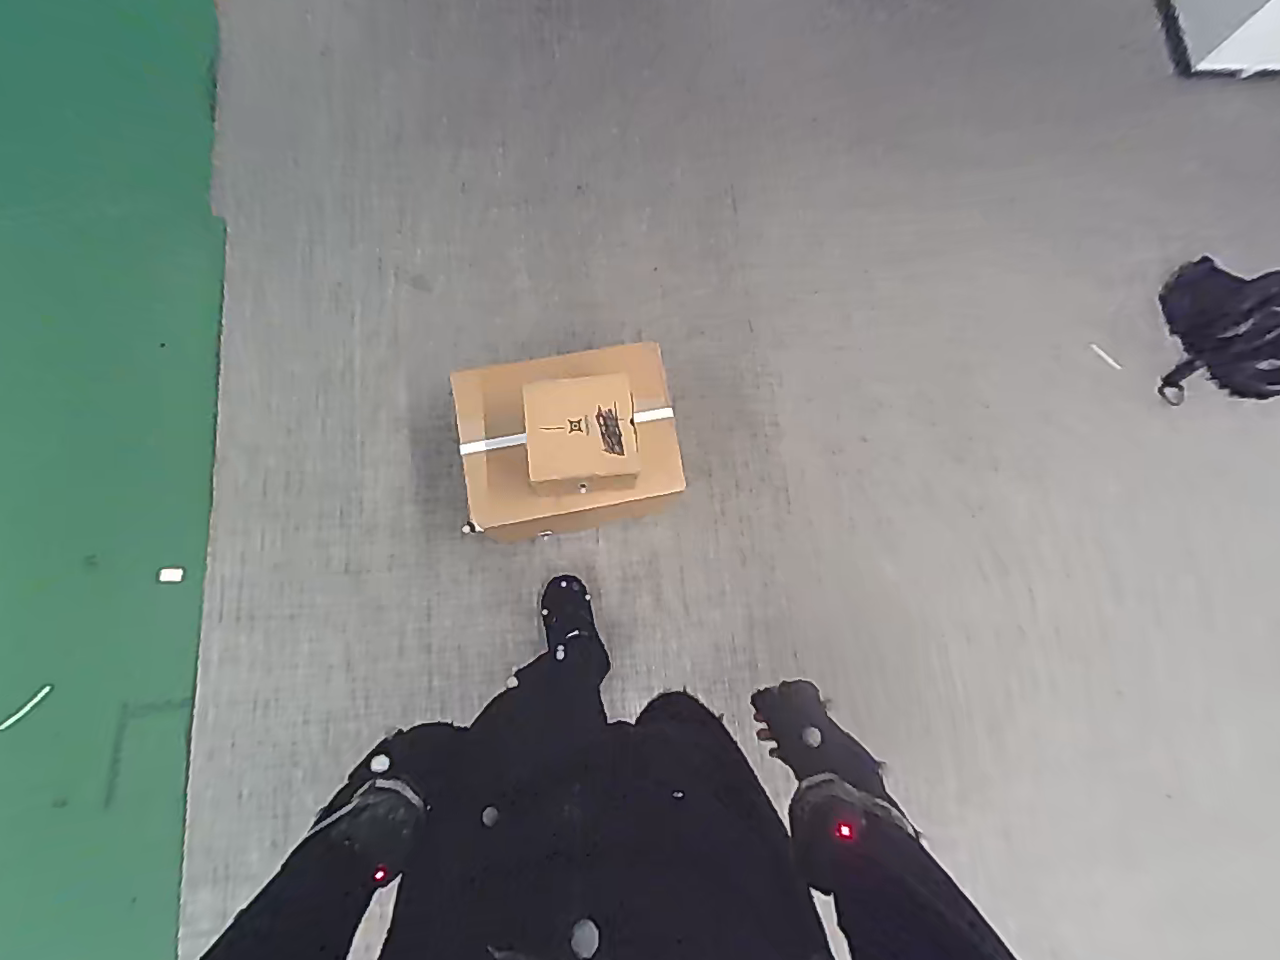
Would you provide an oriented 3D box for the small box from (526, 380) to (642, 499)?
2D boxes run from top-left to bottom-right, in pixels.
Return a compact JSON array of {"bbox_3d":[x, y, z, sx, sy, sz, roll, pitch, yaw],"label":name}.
[{"bbox_3d":[-0.096,-0.063,0.936,0.179,0.176,0.168,-5,80,-4],"label":"small box"}]
